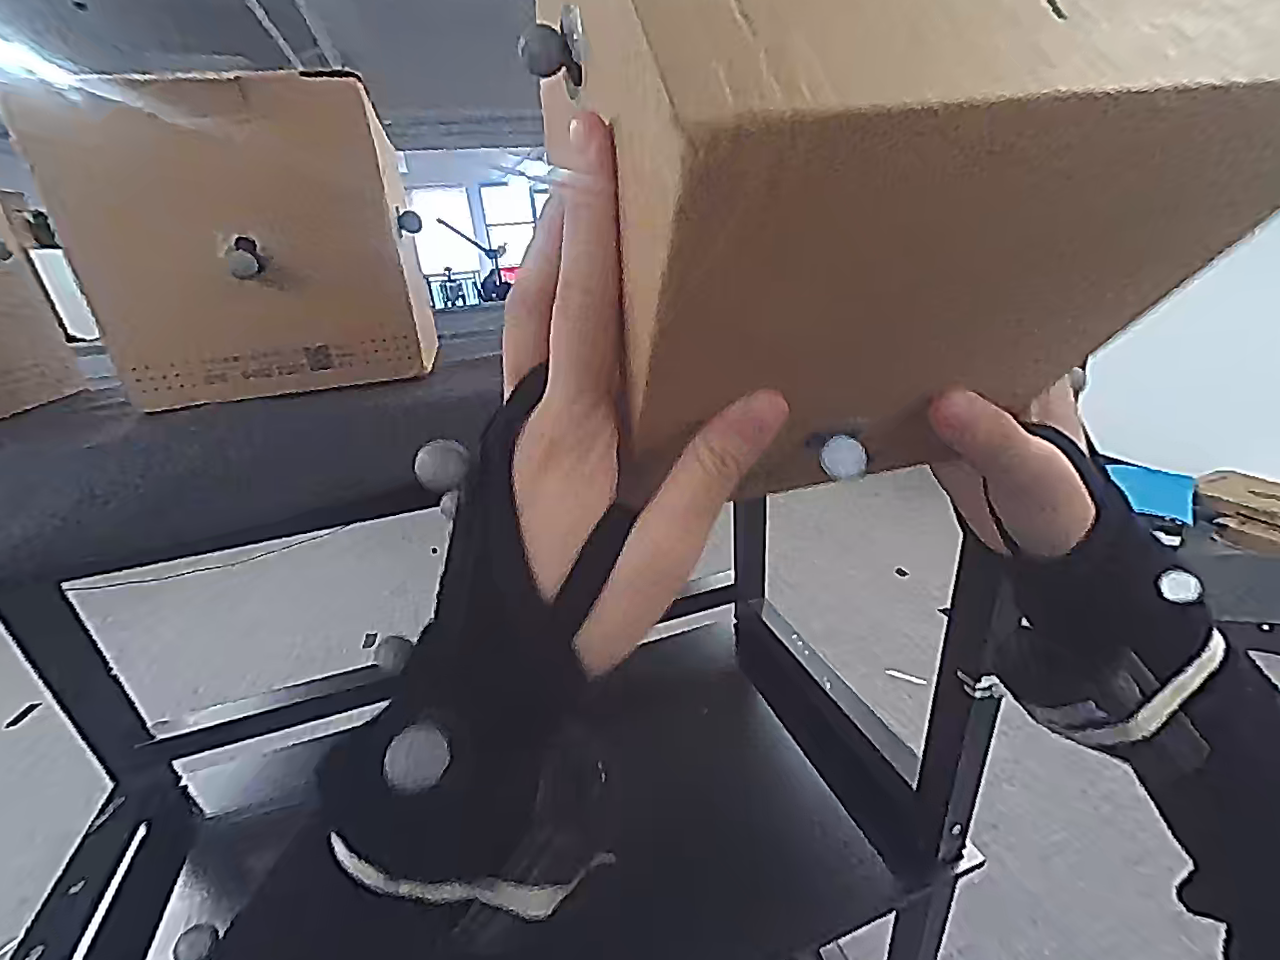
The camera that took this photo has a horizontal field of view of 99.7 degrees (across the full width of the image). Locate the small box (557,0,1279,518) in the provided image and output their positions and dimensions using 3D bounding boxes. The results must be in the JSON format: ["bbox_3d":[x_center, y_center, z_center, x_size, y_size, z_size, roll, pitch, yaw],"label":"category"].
[{"bbox_3d":[0.060,-0.105,0.211,0.168,0.176,0.179,-10,66,-10],"label":"small box"}]

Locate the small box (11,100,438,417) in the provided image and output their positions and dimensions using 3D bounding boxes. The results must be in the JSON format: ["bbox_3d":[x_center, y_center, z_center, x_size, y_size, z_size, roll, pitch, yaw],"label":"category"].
[{"bbox_3d":[-0.247,-0.148,0.386,0.168,0.176,0.179,-11,23,-15],"label":"small box"}]
